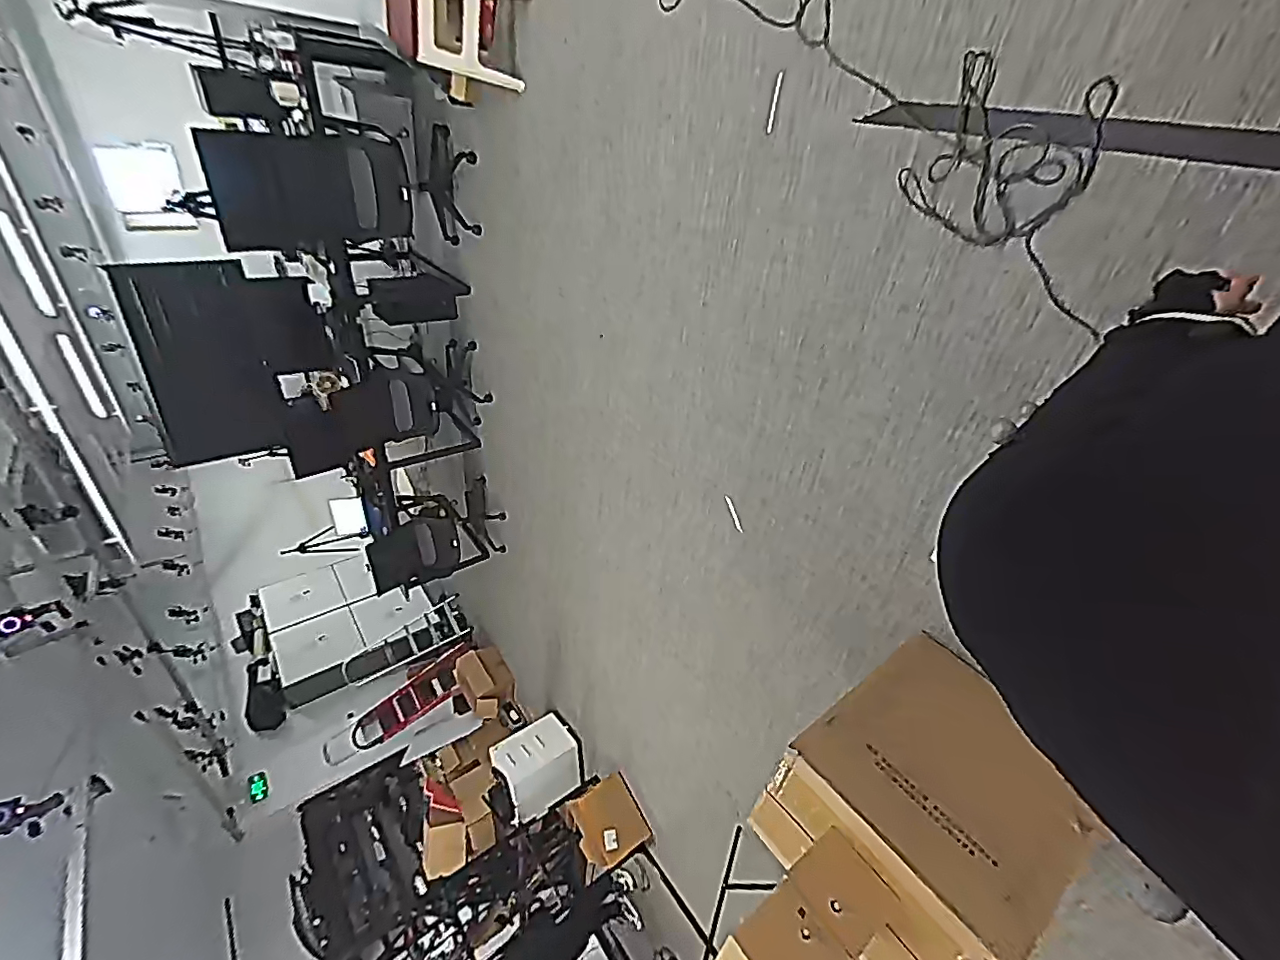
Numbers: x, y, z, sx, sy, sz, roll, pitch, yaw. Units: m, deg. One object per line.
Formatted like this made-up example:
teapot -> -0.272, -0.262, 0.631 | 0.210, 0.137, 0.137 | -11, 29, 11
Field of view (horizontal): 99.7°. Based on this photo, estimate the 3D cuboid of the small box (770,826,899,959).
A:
small box -> 0.413, 0.893, 1.150 | 0.179, 0.176, 0.168 | 41, 136, 38
